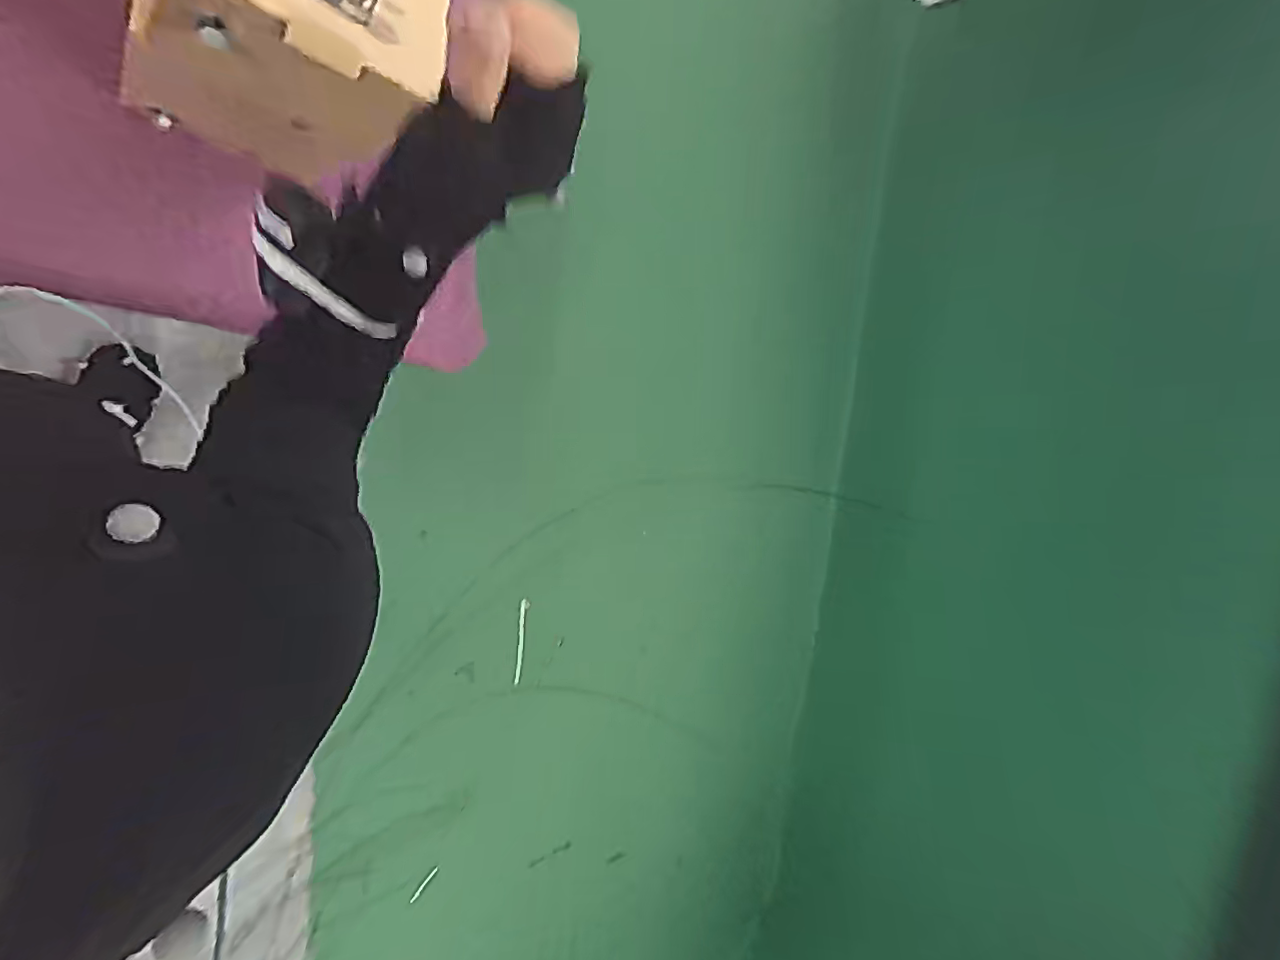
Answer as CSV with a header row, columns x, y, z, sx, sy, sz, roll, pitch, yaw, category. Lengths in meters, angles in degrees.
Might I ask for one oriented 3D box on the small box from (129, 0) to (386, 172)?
x,y,z,sx,sy,sz,roll,pitch,yaw,category
-0.371,-0.435,0.524,0.168,0.176,0.179,7,93,-48,small box
